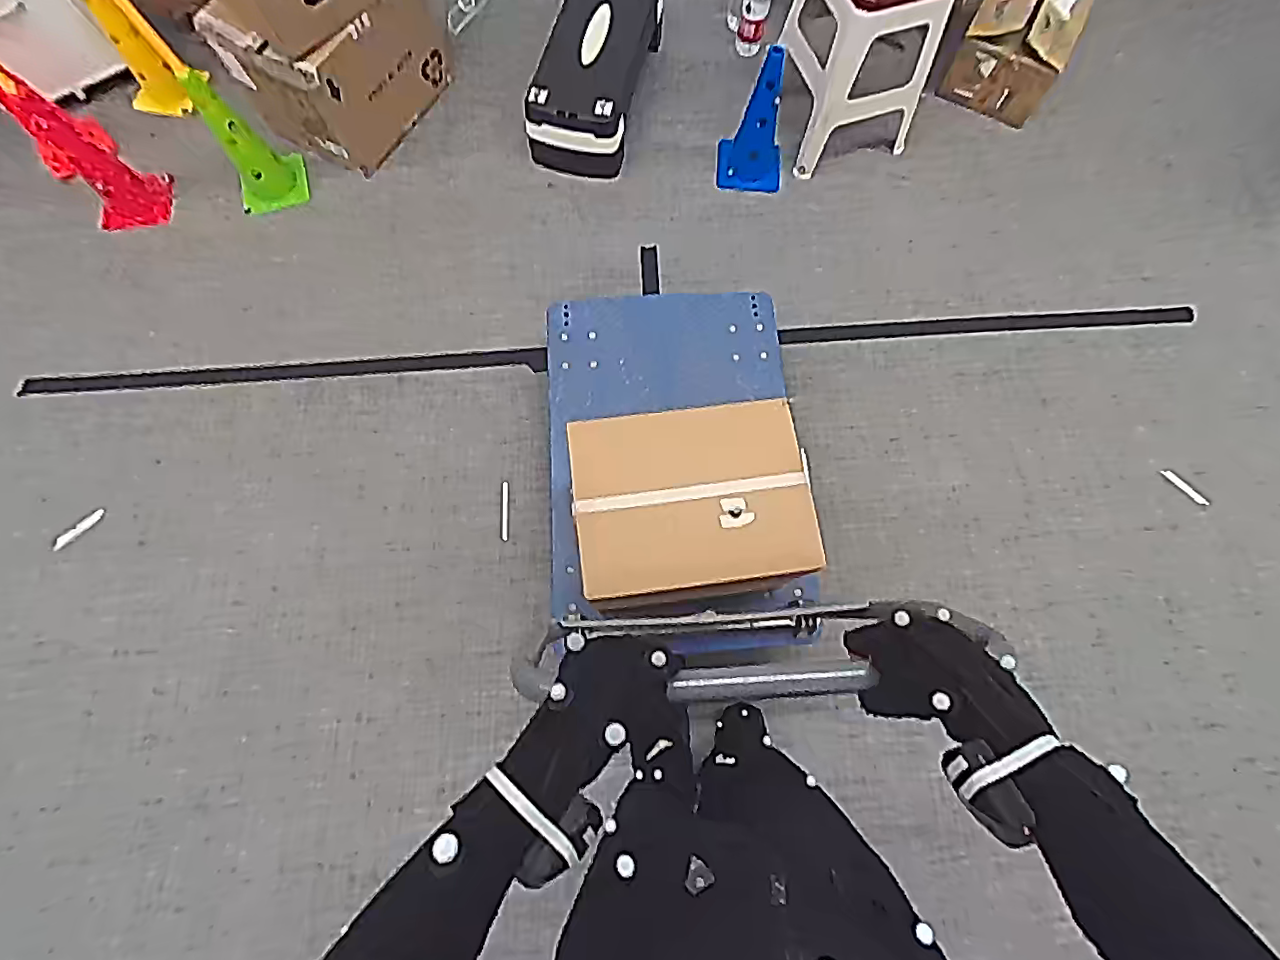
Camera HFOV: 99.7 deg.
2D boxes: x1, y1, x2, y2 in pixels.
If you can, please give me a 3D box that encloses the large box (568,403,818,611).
[{"bbox_3d":[0.081,0.070,1.089,0.408,0.320,0.320,-7,74,-5],"label":"large box"}]
